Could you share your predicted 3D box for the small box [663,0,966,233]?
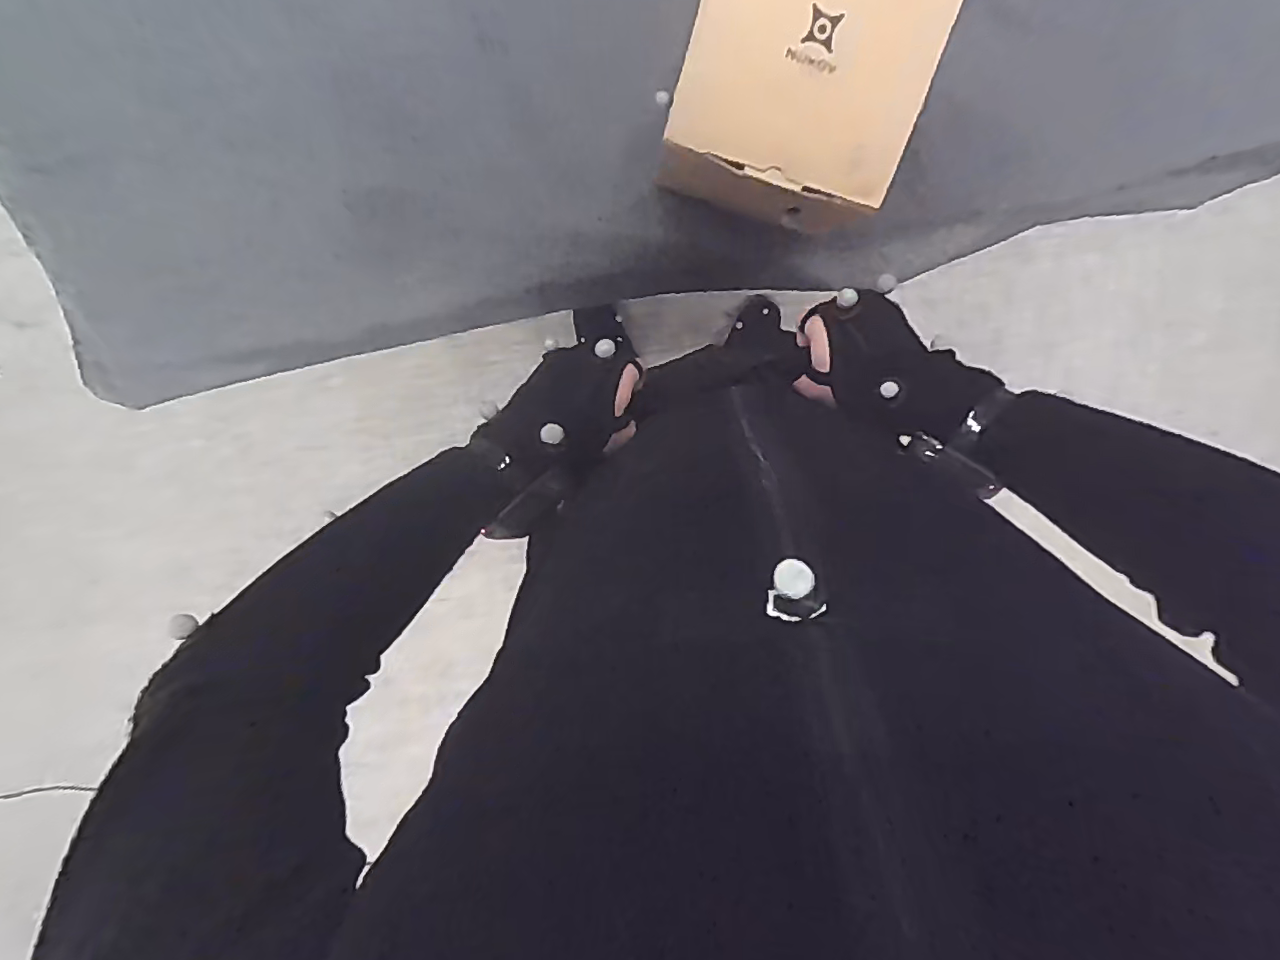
[{"bbox_3d":[0.118,-0.314,0.433,0.168,0.176,0.179,14,108,-6],"label":"small box"}]
